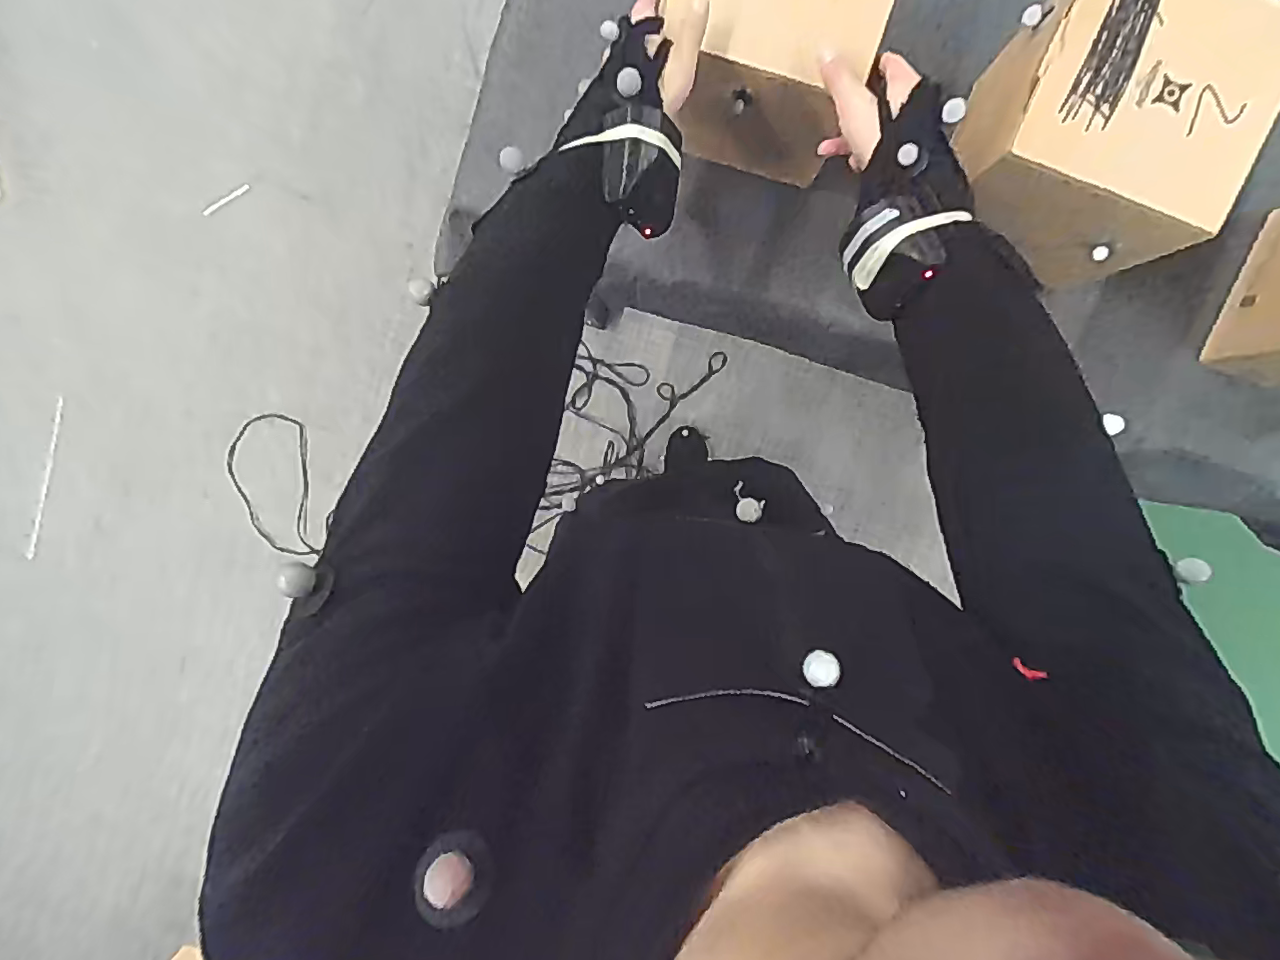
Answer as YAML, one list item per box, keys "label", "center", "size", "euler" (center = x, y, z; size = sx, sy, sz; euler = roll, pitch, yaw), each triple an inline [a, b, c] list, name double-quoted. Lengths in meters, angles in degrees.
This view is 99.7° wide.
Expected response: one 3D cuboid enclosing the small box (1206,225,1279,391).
- label: "small box"
  center: [0.687, -0.162, 0.478]
  size: [0.179, 0.176, 0.168]
  euler: [22, 96, 1]
